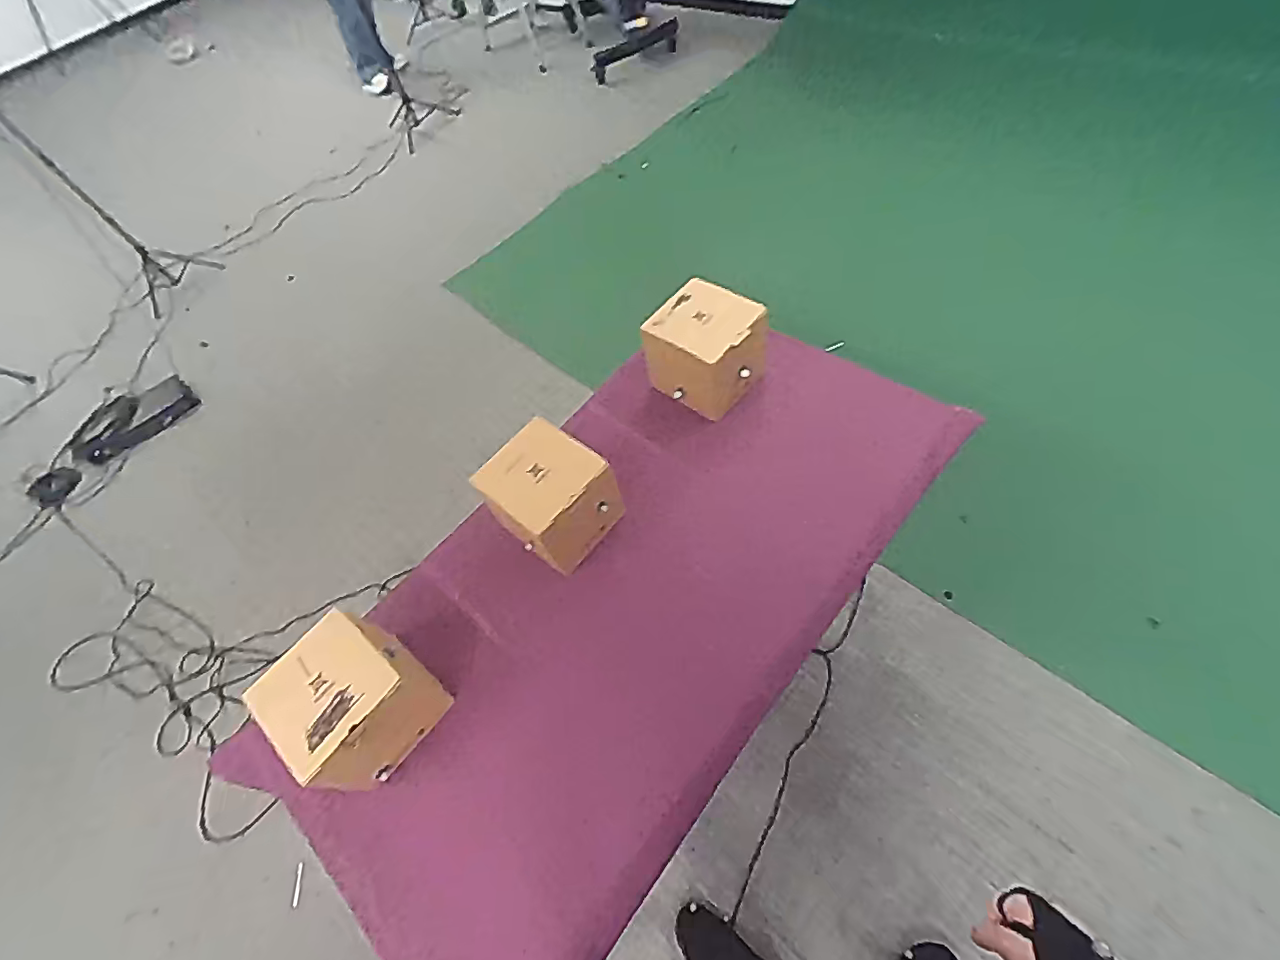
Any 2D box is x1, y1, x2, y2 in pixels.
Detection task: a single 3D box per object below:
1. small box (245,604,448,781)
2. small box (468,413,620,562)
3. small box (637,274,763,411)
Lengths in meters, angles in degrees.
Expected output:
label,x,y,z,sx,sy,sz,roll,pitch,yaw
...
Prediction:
label,x,y,z,sx,sy,sz,roll,pitch,yaw
small box,-0.426,0.321,0.812,0.179,0.176,0.168,32,69,26
small box,-0.157,0.022,0.946,0.179,0.176,0.168,33,70,26
small box,0.122,-0.263,1.063,0.179,0.176,0.168,35,71,26
